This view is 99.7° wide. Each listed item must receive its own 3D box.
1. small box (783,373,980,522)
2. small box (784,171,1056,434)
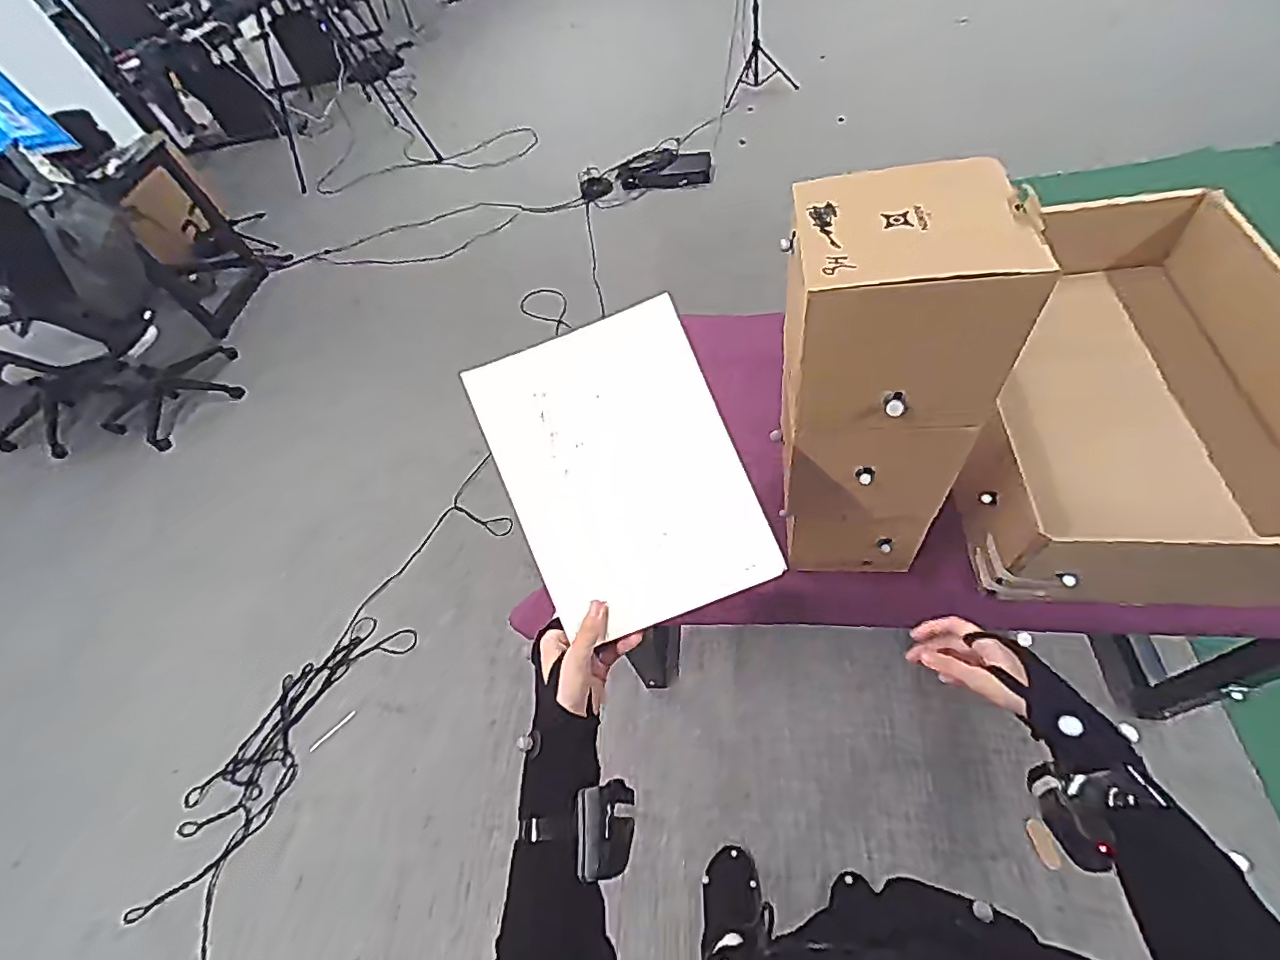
[{"bbox_3d":[0.263,-0.061,0.638,0.179,0.176,0.168,-1,54,13],"label":"small box"},{"bbox_3d":[0.232,-0.157,0.507,0.179,0.176,0.168,-1,53,11],"label":"small box"}]
